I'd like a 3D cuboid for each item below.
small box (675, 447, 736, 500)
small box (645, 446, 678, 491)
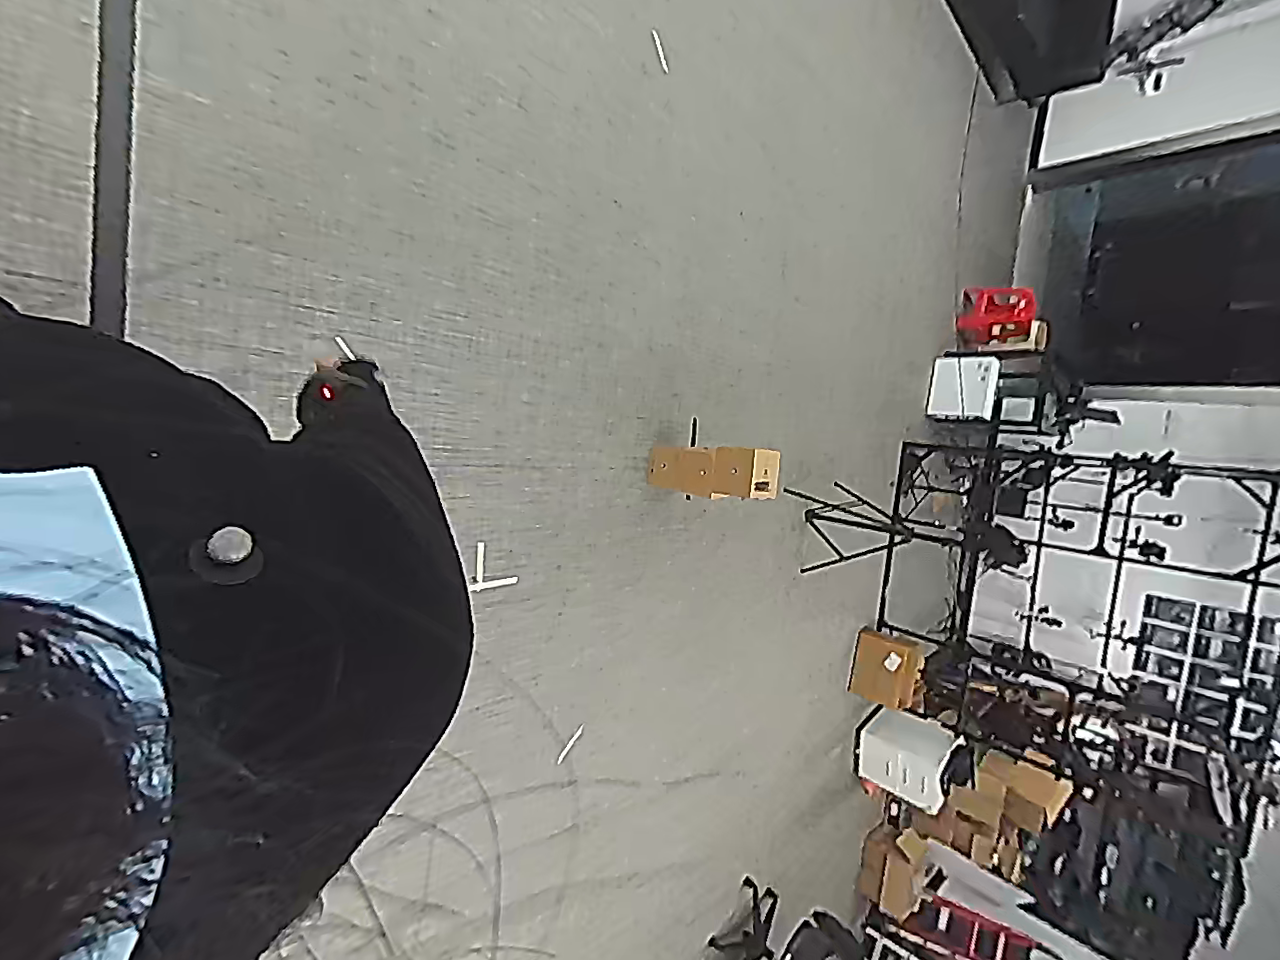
[{"bbox_3d":[0.247,-0.029,2.073,0.168,0.176,0.179,-8,102,-44],"label":"small box"},{"bbox_3d":[0.140,-0.044,2.195,0.179,0.176,0.168,4,95,-46],"label":"small box"}]
